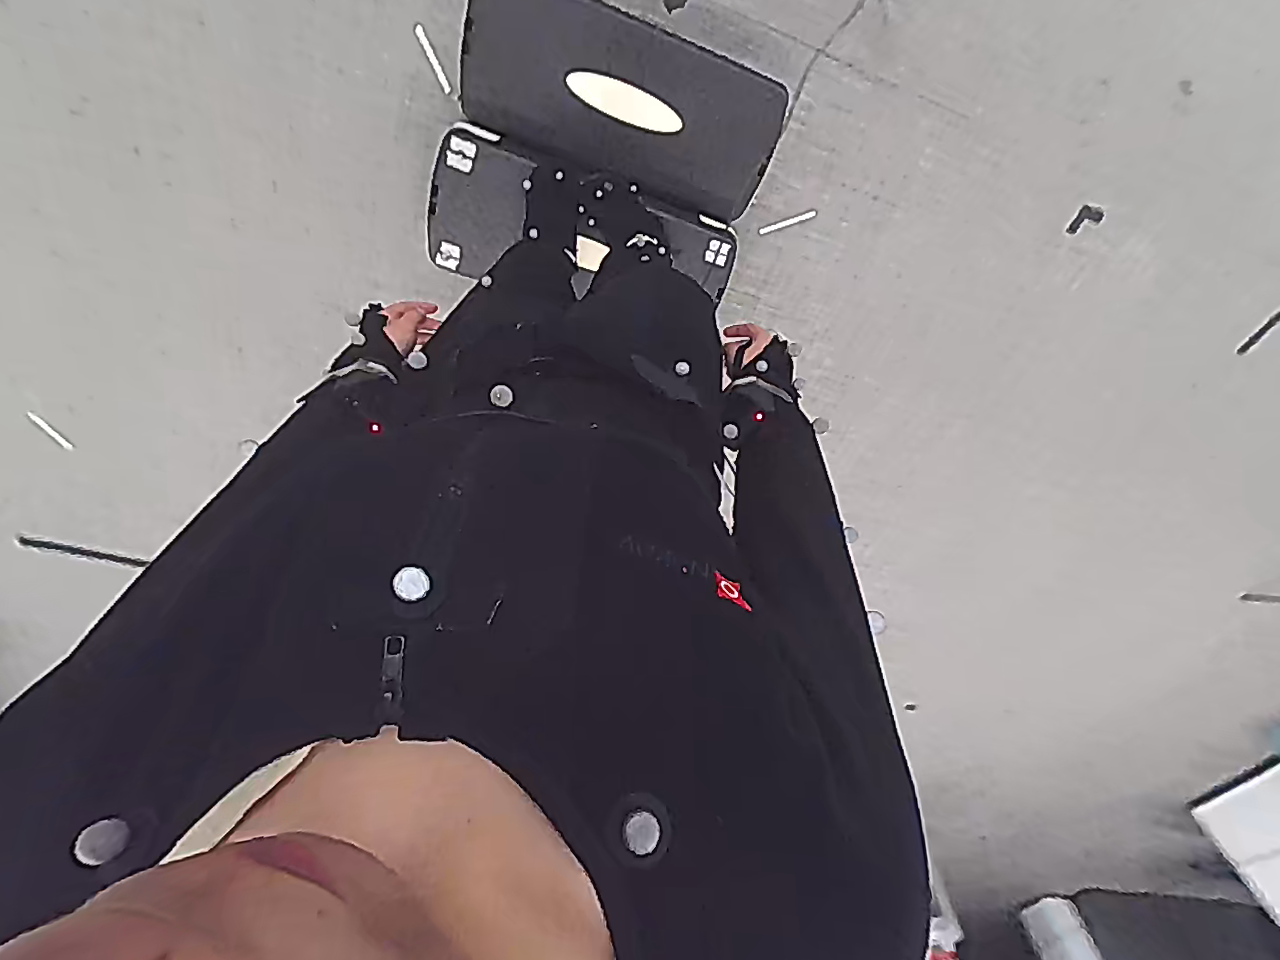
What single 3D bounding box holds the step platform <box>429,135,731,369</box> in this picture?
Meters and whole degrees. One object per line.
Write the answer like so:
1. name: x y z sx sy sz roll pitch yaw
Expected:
1. step platform: -0.131 -0.519 1.279 0.684 0.204 0.286 19 121 -13
